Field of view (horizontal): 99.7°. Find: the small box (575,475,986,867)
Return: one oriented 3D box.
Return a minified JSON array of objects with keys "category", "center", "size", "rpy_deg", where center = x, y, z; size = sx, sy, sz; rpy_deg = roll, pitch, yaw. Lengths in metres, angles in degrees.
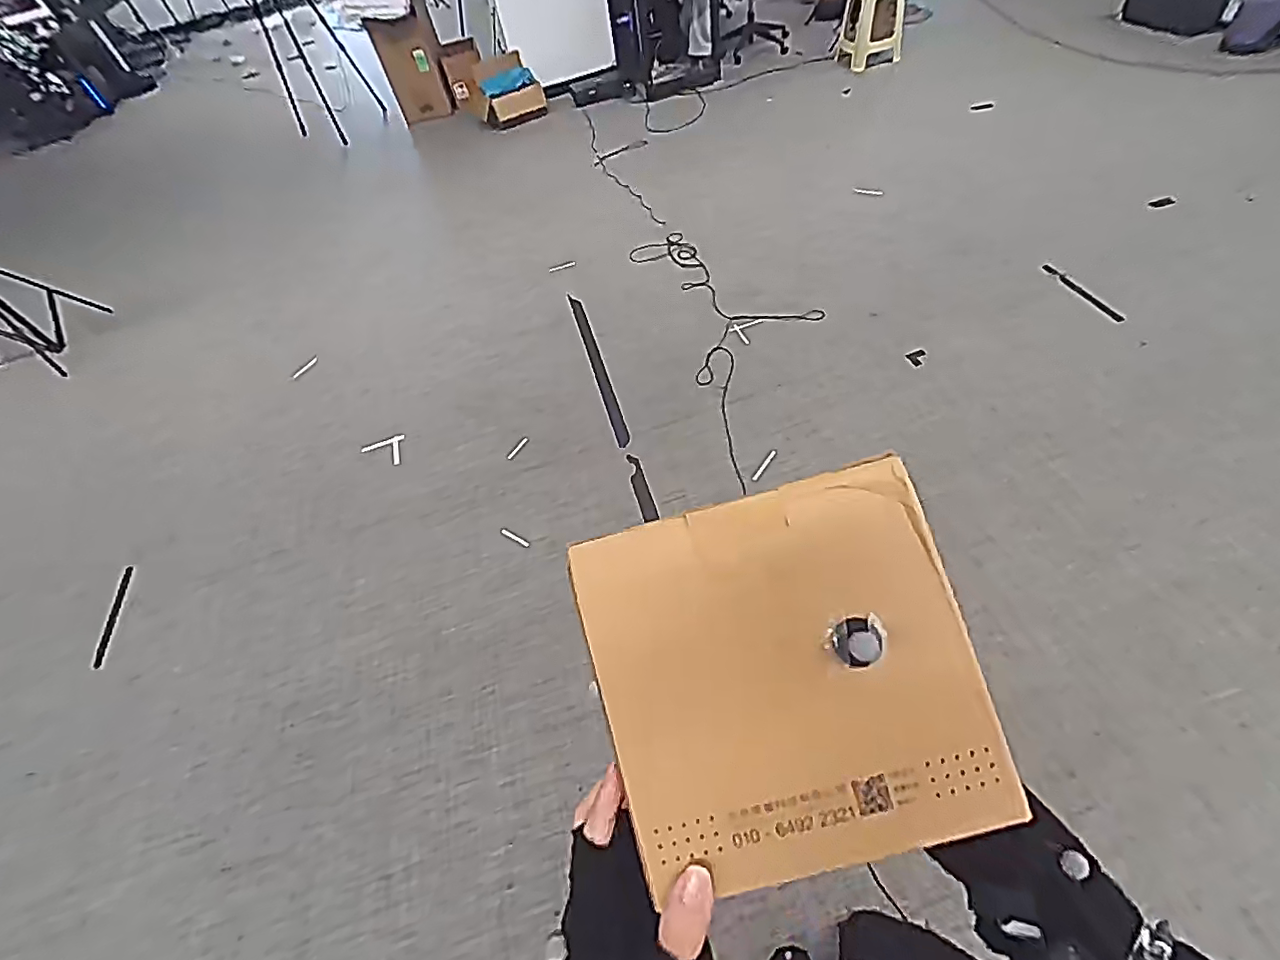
[{"category":"small box","center":[0.075,0.109,0.342],"size":[0.168,0.179,0.176],"rpy_deg":[-16,82,4]}]
